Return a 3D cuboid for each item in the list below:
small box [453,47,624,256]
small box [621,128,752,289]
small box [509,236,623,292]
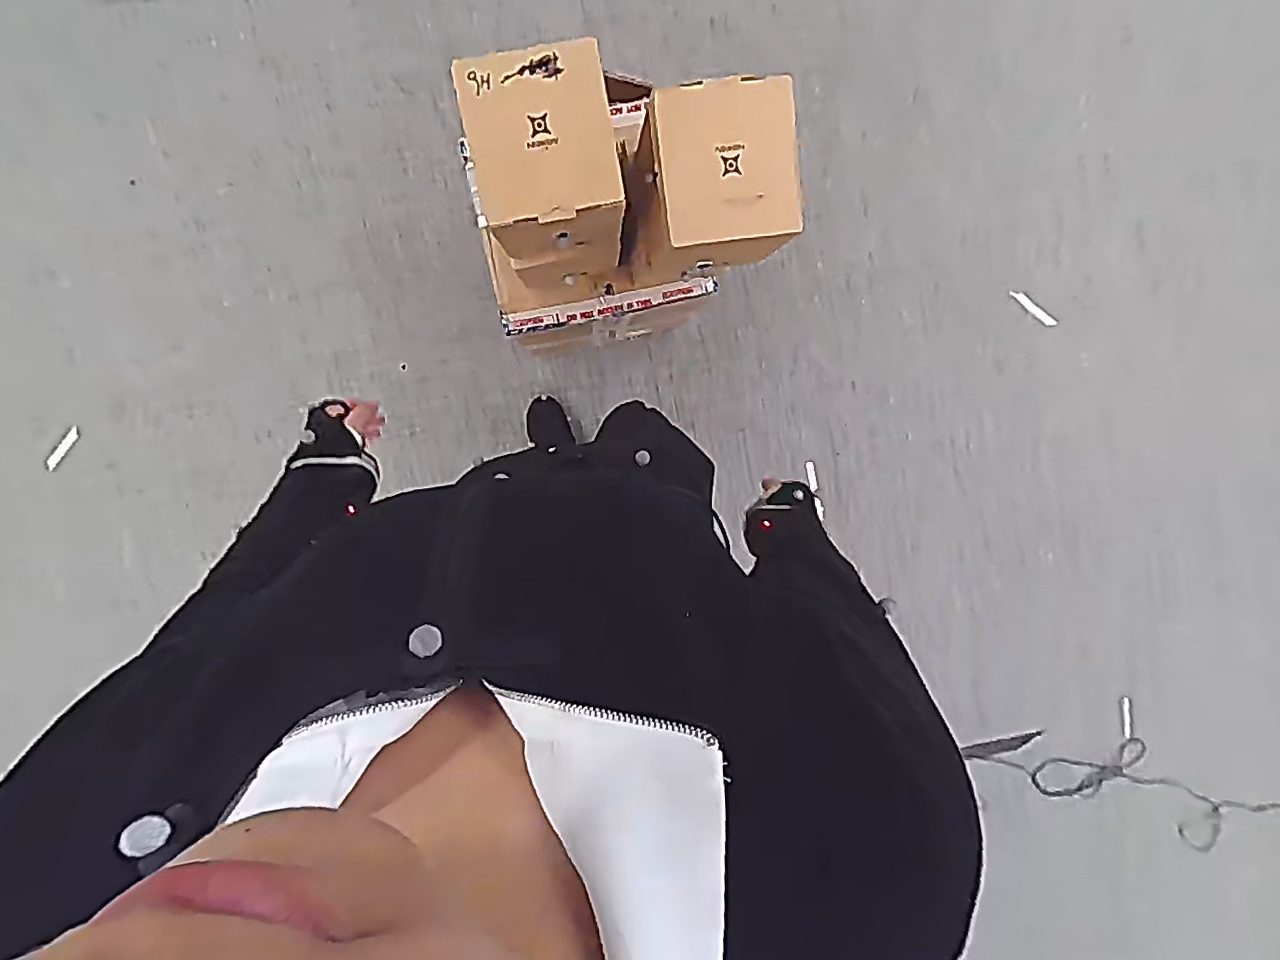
[{"bbox_3d":[-0.116,-0.398,0.691,0.168,0.176,0.179,-11,102,-2],"label":"small box"},{"bbox_3d":[0.065,-0.424,0.870,0.168,0.176,0.179,-12,100,-4],"label":"small box"},{"bbox_3d":[-0.128,-0.414,0.855,0.168,0.176,0.179,-14,102,-1],"label":"small box"}]
